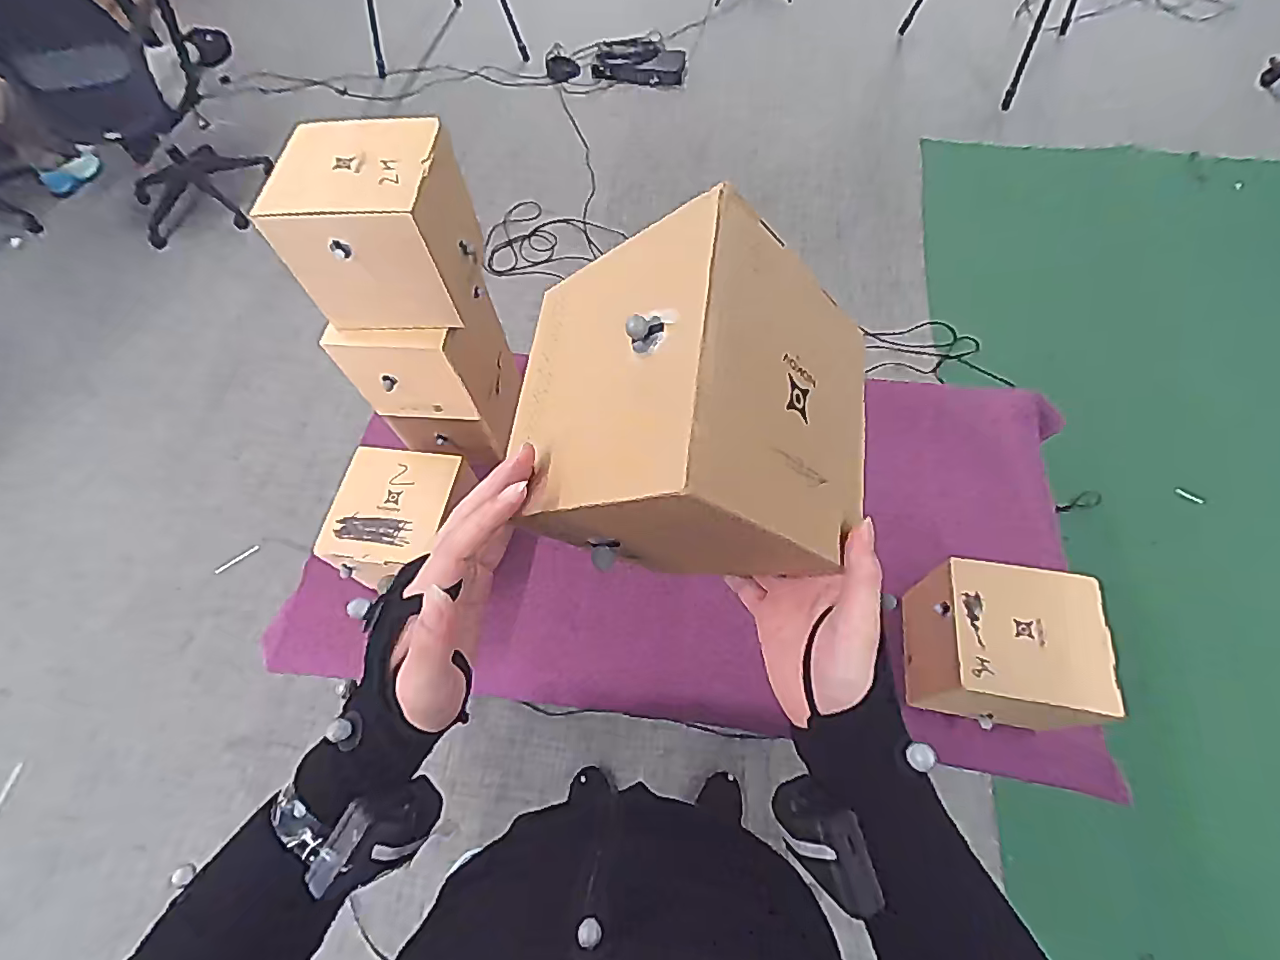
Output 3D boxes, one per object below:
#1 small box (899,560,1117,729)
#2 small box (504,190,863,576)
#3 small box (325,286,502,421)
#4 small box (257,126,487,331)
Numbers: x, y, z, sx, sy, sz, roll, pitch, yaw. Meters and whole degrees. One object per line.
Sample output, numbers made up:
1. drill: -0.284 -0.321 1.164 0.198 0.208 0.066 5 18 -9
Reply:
1. small box: 0.468 0.225 0.720 0.179 0.176 0.168 9 62 8
2. small box: 0.031 -0.039 0.365 0.176 0.168 0.179 -9 64 46
3. small box: -0.317 -0.203 0.801 0.168 0.176 0.179 3 62 4
4. small box: -0.309 -0.301 0.667 0.179 0.176 0.168 1 62 3
